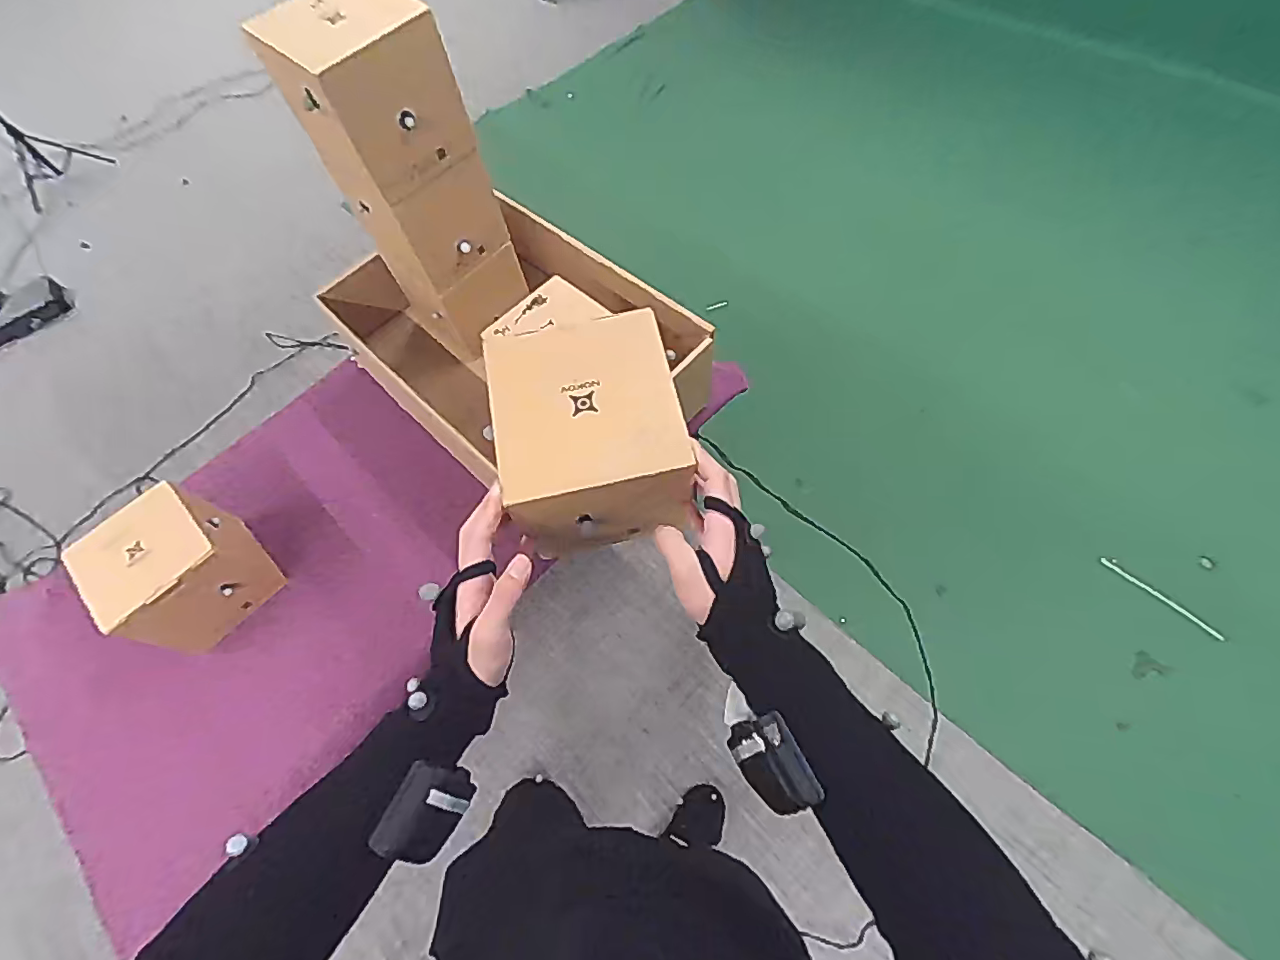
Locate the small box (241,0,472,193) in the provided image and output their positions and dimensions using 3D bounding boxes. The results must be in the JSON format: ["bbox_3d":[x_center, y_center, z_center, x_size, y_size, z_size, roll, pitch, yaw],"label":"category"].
[{"bbox_3d":[-0.354,-0.516,0.710,0.179,0.176,0.168,40,74,20],"label":"small box"}]

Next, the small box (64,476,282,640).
[{"bbox_3d":[-0.717,0.131,0.851,0.179,0.176,0.168,40,72,21],"label":"small box"}]

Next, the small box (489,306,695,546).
[{"bbox_3d":[-0.043,-0.042,0.554,0.168,0.176,0.179,-12,66,-2],"label":"small box"}]

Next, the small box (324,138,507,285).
[{"bbox_3d":[-0.345,-0.447,0.860,0.179,0.176,0.168,39,74,19],"label":"small box"}]
